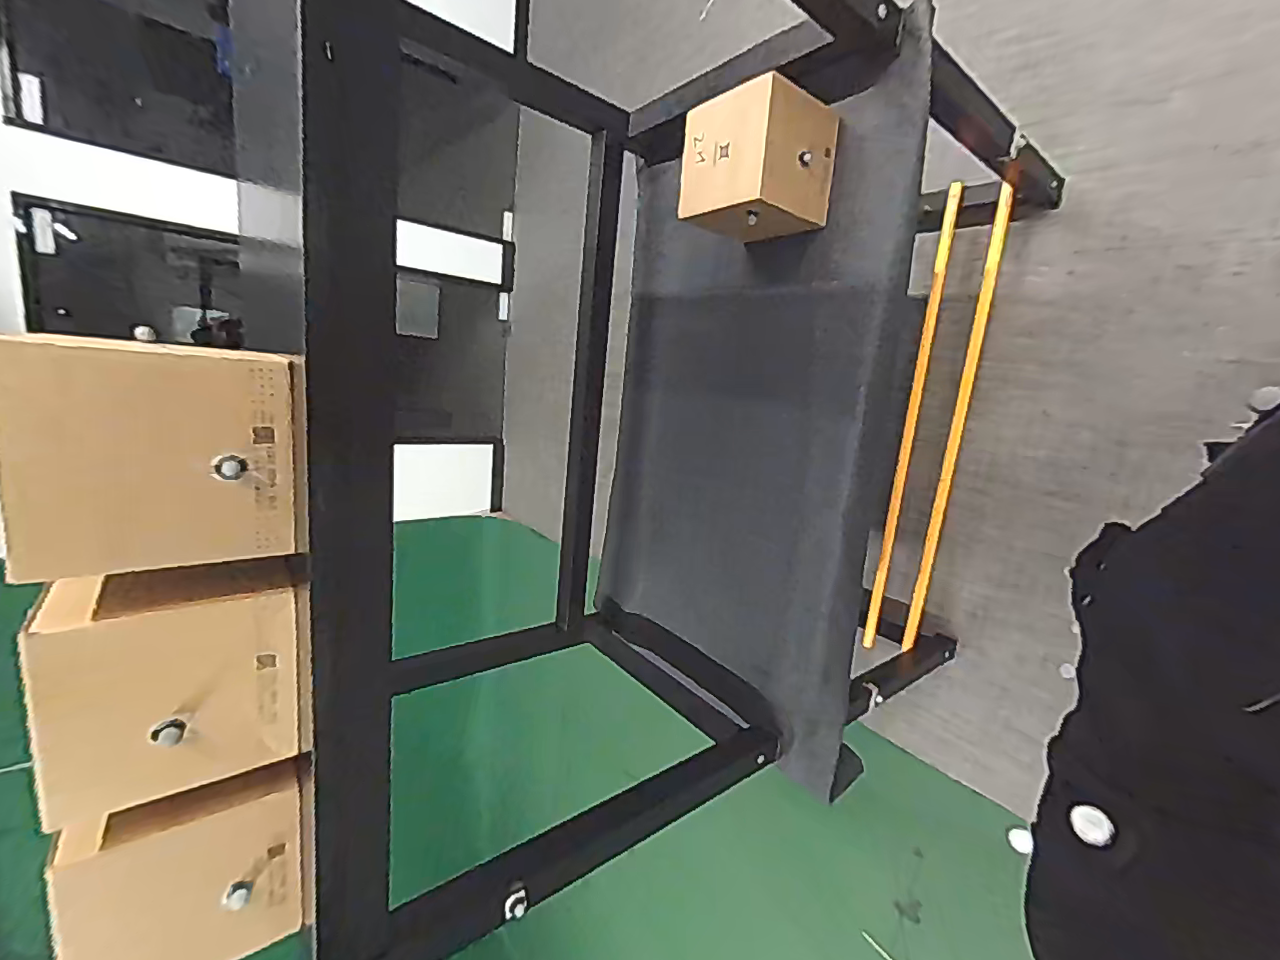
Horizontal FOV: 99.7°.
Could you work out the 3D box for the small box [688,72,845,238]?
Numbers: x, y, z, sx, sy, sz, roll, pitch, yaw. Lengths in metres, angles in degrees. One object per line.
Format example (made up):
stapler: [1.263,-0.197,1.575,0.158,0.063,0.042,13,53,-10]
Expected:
small box: [0.202,-0.502,0.867,0.179,0.176,0.168,17,106,51]

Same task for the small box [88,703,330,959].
small box: [-0.428,0.353,0.553,0.179,0.176,0.168,17,106,49]
